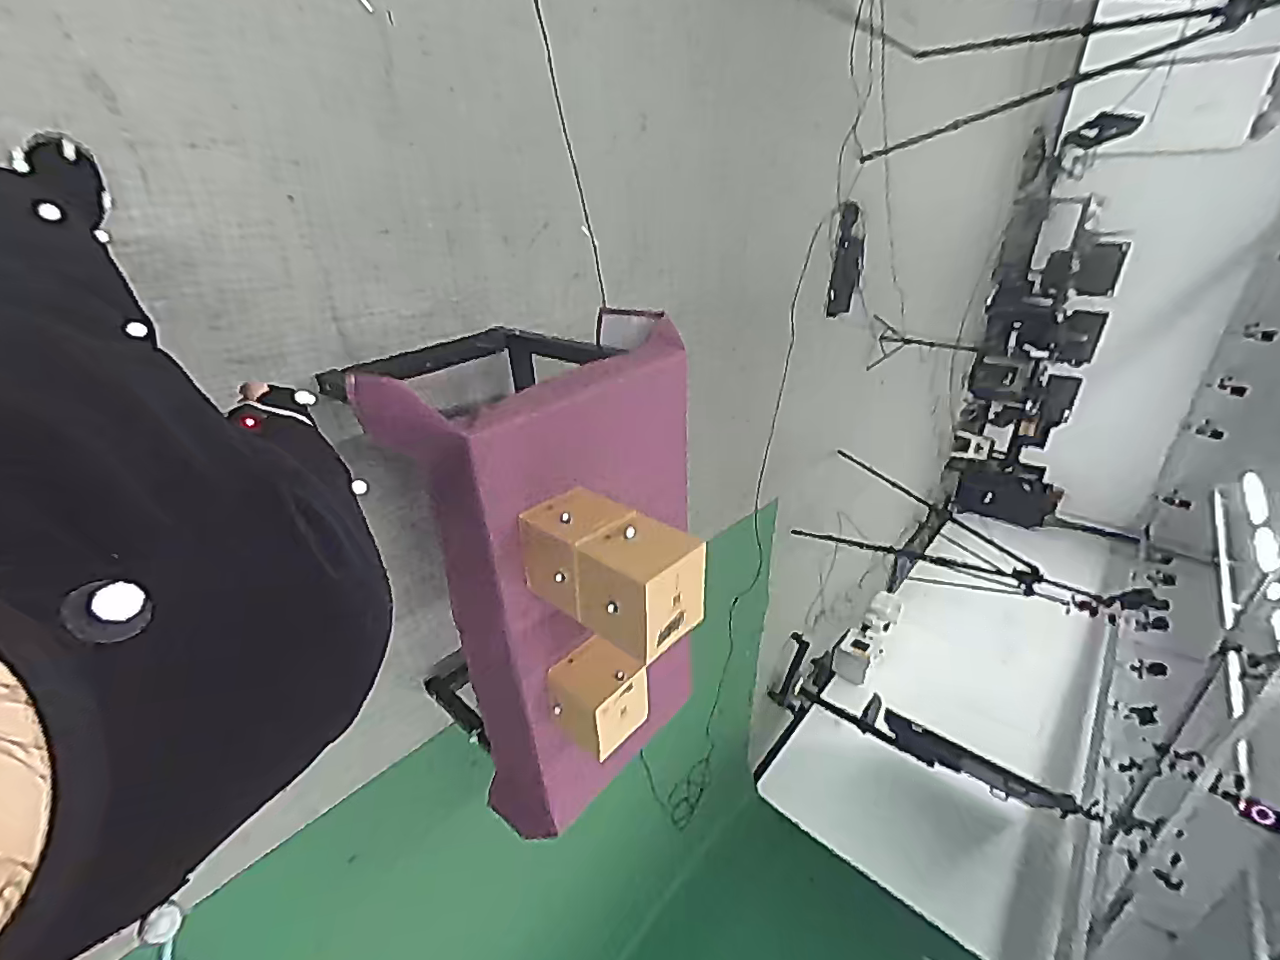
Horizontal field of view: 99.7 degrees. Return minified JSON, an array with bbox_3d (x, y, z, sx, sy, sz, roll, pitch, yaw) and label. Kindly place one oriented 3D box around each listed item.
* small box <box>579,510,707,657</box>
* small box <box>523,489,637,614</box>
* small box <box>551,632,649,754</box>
[{"bbox_3d":[0.005,0.181,0.996,0.168,0.176,0.179,-28,126,-41],"label":"small box"},{"bbox_3d":[-0.120,0.131,1.091,0.168,0.176,0.179,-27,127,-41],"label":"small box"},{"bbox_3d":[-0.094,0.500,1.293,0.168,0.176,0.179,-29,128,-41],"label":"small box"}]
